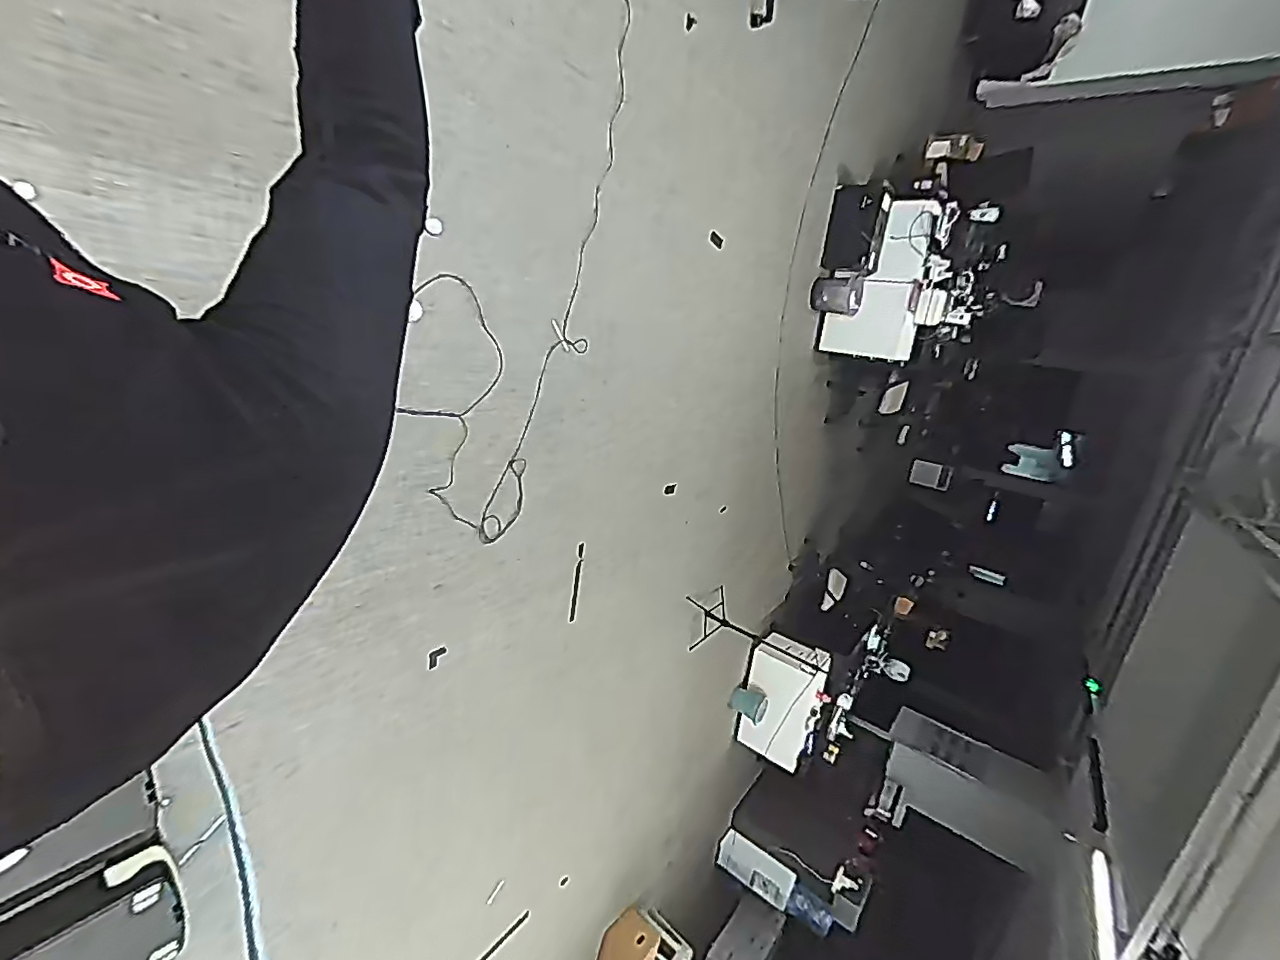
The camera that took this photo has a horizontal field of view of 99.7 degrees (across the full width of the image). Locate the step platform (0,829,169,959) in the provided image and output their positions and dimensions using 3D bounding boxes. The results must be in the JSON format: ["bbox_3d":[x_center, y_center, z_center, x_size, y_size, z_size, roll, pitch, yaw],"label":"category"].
[{"bbox_3d":[-1.400,1.068,1.088,0.684,0.204,0.286,-17,119,-49],"label":"step platform"}]
